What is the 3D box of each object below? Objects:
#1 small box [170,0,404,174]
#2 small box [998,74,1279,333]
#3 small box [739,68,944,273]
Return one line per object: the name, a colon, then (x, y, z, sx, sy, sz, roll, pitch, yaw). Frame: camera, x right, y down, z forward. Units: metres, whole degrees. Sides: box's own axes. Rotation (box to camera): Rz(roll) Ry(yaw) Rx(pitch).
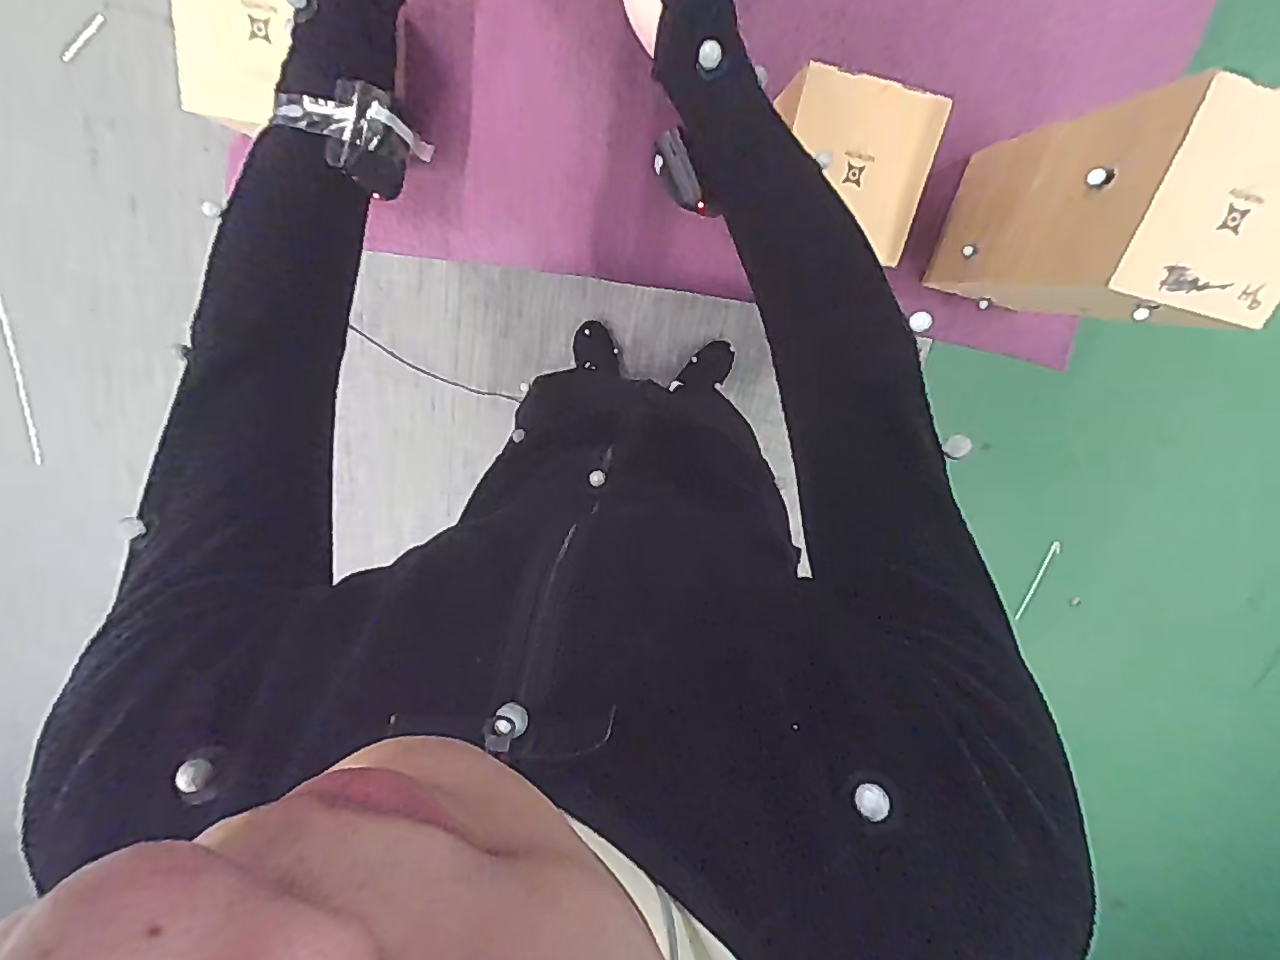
small box: (-0.382, -0.474, 0.614, 0.168, 0.176, 0.179, 8, 109, -5)
small box: (0.516, -0.261, 0.551, 0.168, 0.176, 0.179, 12, 108, -5)
small box: (0.233, -0.367, 0.679, 0.168, 0.176, 0.179, 10, 107, -5)
